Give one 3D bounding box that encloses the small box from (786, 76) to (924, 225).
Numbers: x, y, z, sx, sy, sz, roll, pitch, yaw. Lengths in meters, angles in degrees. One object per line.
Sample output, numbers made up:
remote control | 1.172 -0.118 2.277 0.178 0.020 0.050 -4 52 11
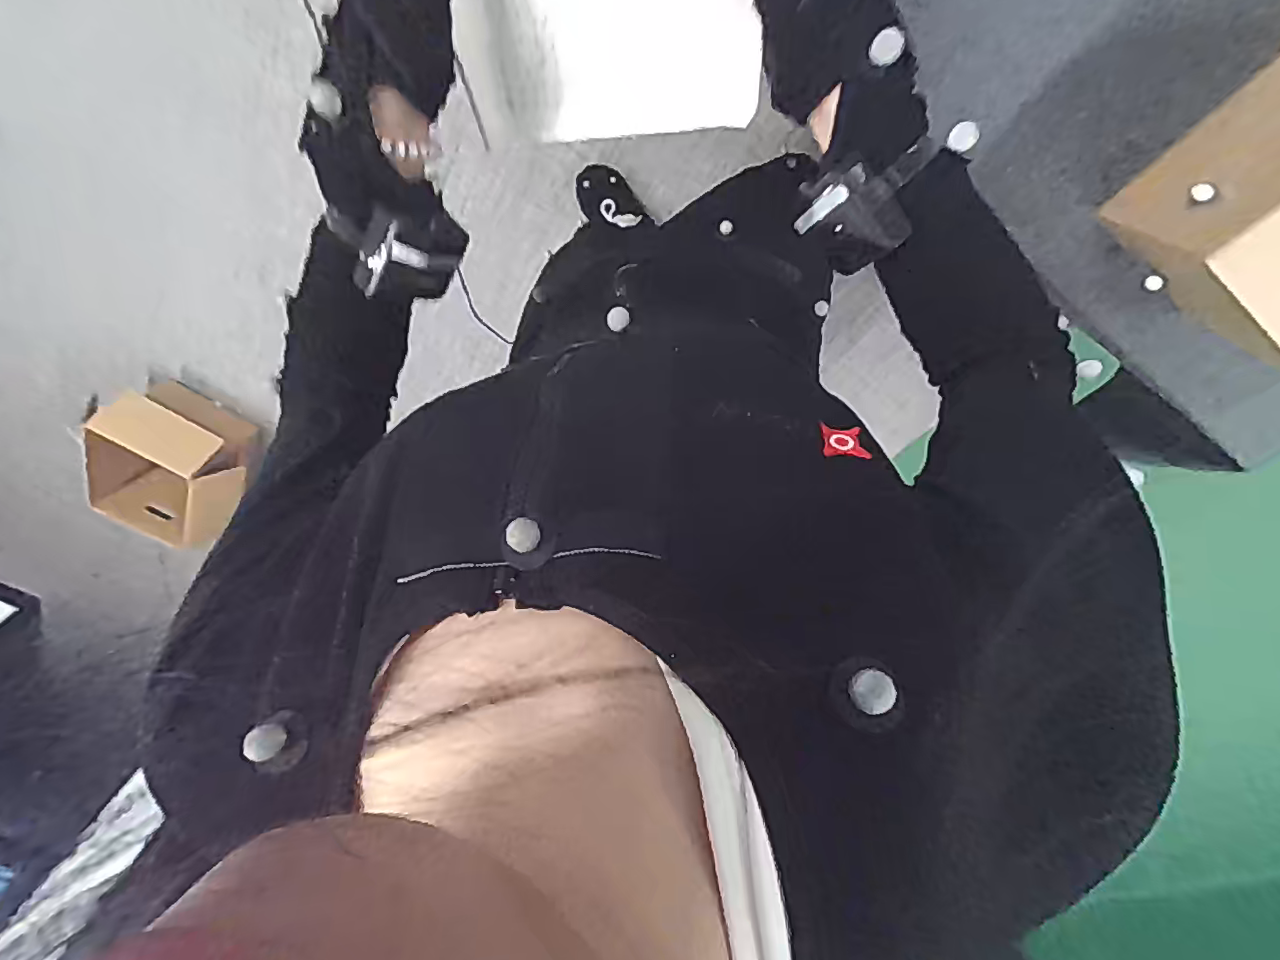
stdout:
small box | 0.414 -0.642 1.071 0.179 0.176 0.168 -16 81 -3
